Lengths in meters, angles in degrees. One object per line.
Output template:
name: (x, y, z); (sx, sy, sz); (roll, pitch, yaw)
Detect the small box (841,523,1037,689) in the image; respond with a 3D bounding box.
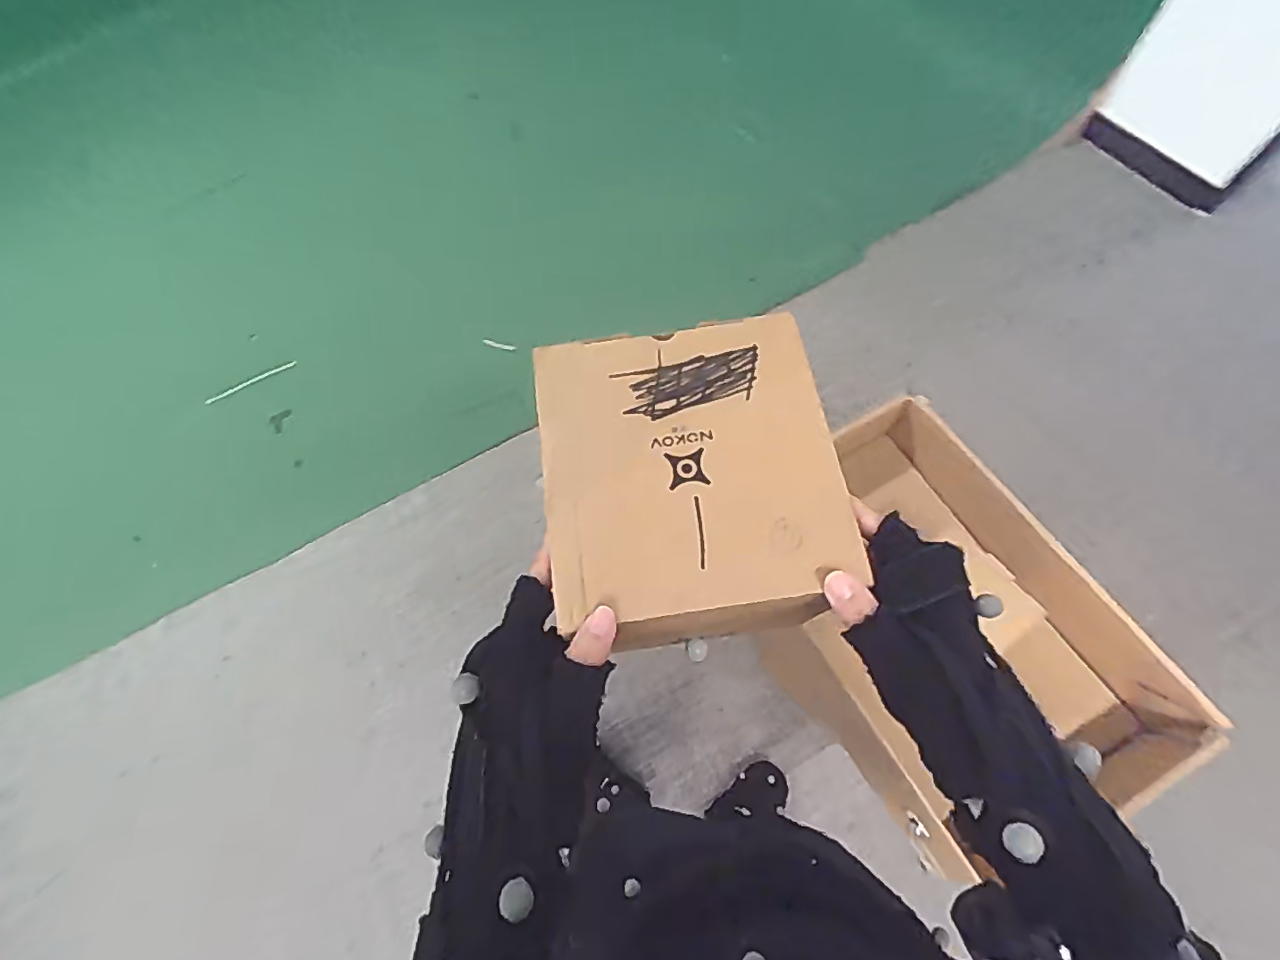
small box: (0.444, 0.200, 0.836); (0.179, 0.176, 0.168); (-34, 66, -10)

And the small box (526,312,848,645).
small box: (0.021, 0.012, 0.388); (0.168, 0.176, 0.179); (-9, 69, 0)
